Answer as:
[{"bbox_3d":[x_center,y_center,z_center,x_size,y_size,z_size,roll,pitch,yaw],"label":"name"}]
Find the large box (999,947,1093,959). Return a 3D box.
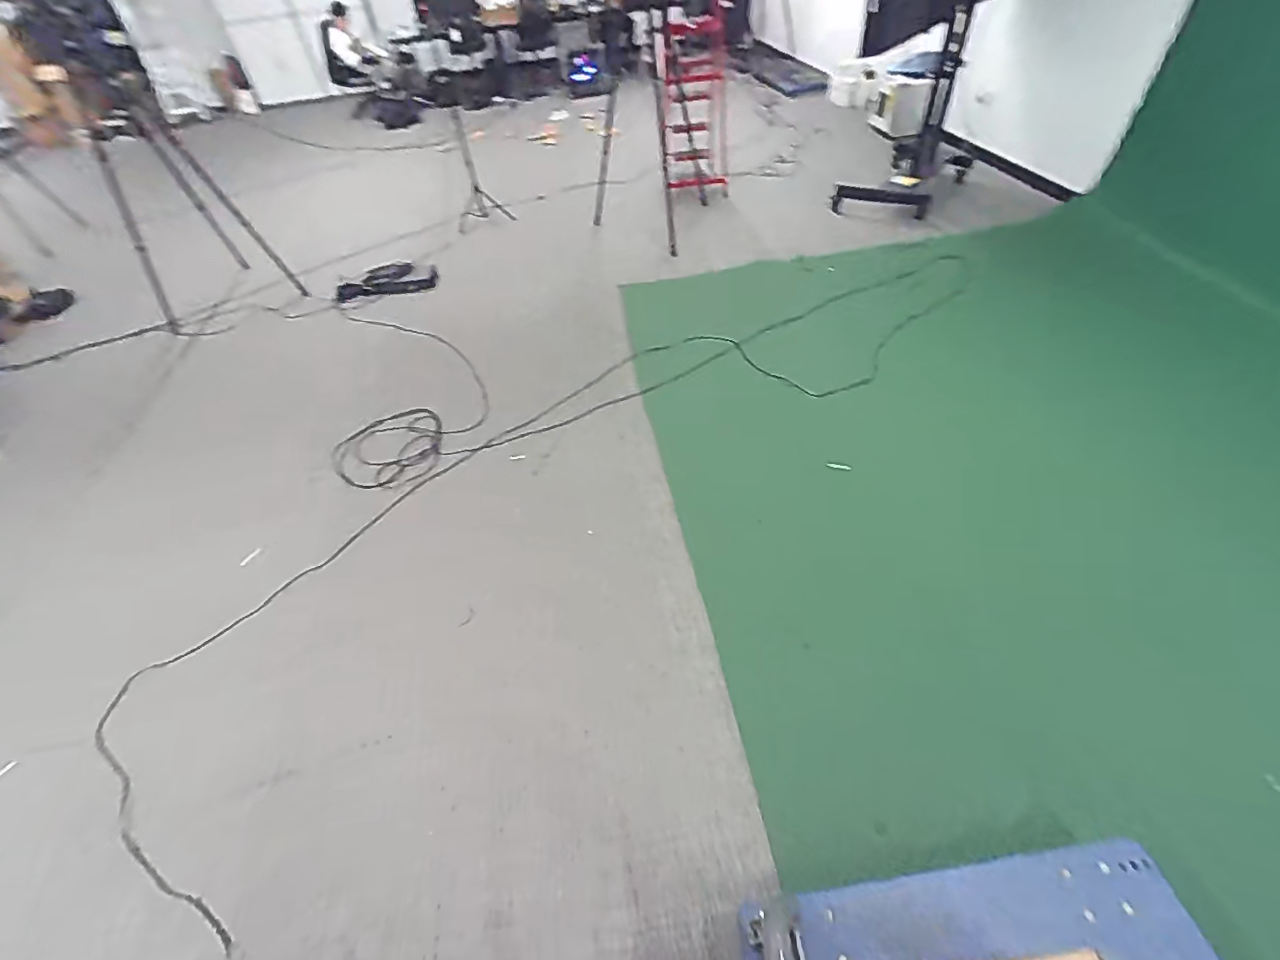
[{"bbox_3d":[0.523,0.960,0.824,0.408,0.320,0.320,-8,47,-2],"label":"large box"}]
